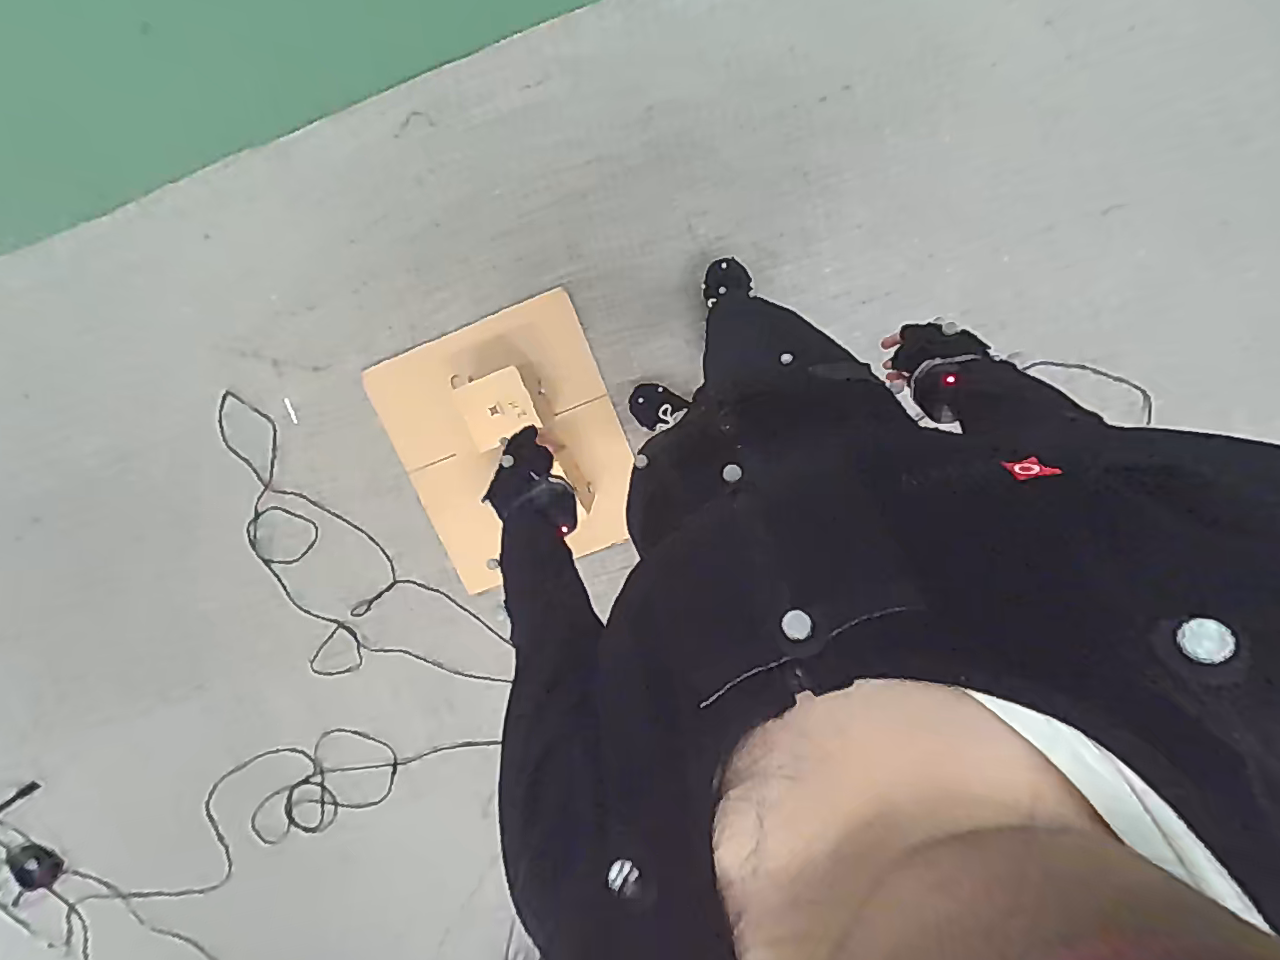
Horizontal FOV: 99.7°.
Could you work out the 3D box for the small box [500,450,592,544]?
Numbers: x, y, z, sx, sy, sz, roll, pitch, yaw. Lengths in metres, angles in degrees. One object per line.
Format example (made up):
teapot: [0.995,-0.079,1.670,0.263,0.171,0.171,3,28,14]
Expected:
small box: [-0.235,0.038,1.415,0.179,0.176,0.168,-25,102,8]

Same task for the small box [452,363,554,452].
small box: [-0.336,-0.187,1.365,0.179,0.176,0.168,-21,104,7]
